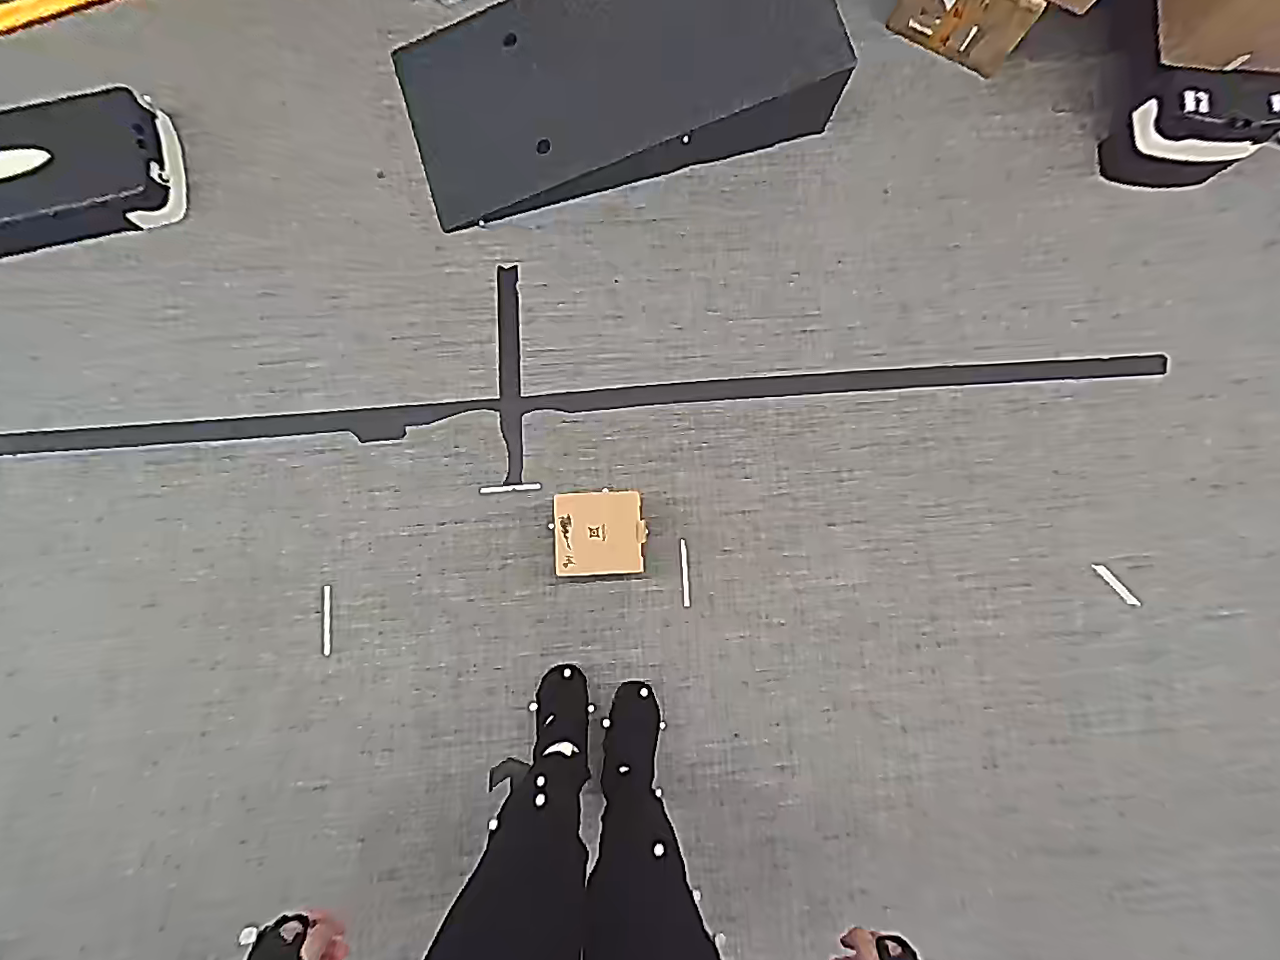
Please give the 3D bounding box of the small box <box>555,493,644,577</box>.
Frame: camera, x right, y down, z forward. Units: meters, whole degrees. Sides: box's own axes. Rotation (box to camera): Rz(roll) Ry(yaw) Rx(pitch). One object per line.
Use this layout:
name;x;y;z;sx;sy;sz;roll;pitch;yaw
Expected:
small box;-0.085;0.114;1.140;0.179;0.176;0.168;-1;84;-3
